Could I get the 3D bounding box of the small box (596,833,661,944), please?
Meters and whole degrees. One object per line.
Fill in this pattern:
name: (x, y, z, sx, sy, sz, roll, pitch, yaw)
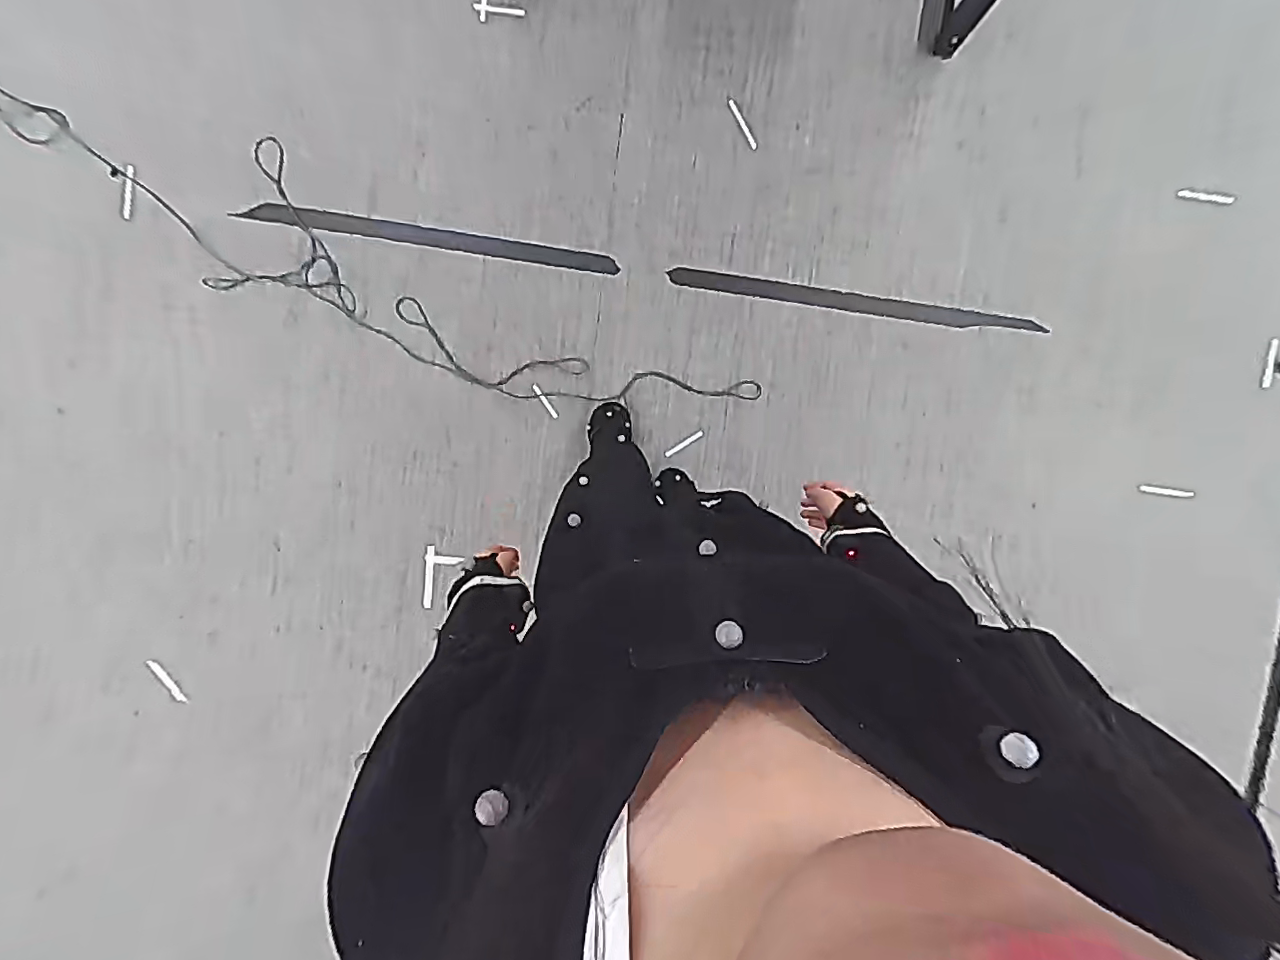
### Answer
small box: (-0.031, 1.098, 1.462, 0.168, 0.176, 0.179, -2, 93, -2)
